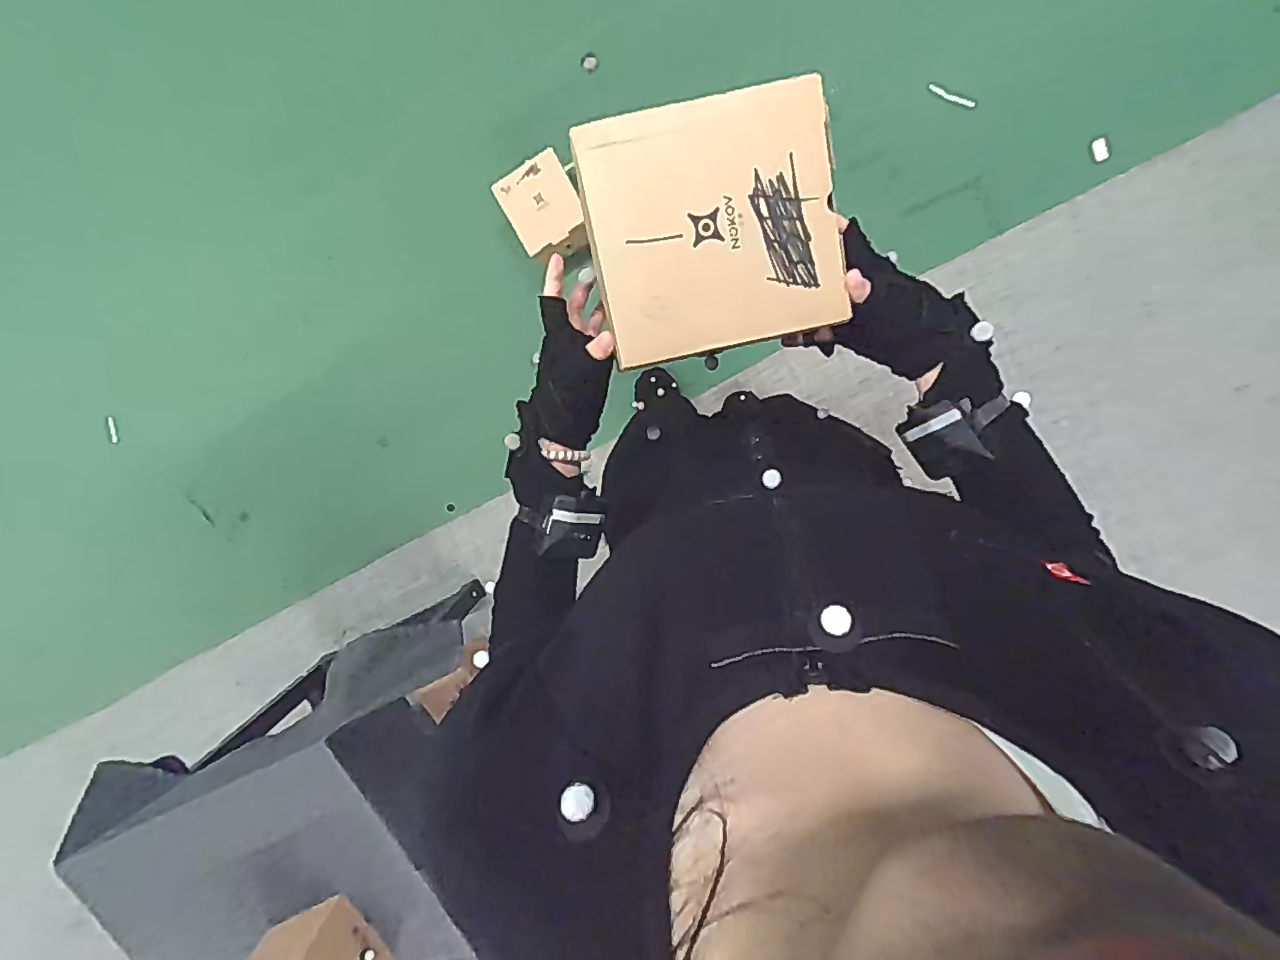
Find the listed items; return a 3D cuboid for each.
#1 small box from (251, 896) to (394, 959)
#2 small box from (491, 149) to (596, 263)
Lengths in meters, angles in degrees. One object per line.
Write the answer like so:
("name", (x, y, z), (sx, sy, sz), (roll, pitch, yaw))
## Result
("small box", (-0.547, 0.840, 0.881), (0.179, 0.176, 0.168), (-30, 100, 9))
("small box", (-0.219, -0.640, 1.293), (0.168, 0.176, 0.179), (-28, 100, 9))
